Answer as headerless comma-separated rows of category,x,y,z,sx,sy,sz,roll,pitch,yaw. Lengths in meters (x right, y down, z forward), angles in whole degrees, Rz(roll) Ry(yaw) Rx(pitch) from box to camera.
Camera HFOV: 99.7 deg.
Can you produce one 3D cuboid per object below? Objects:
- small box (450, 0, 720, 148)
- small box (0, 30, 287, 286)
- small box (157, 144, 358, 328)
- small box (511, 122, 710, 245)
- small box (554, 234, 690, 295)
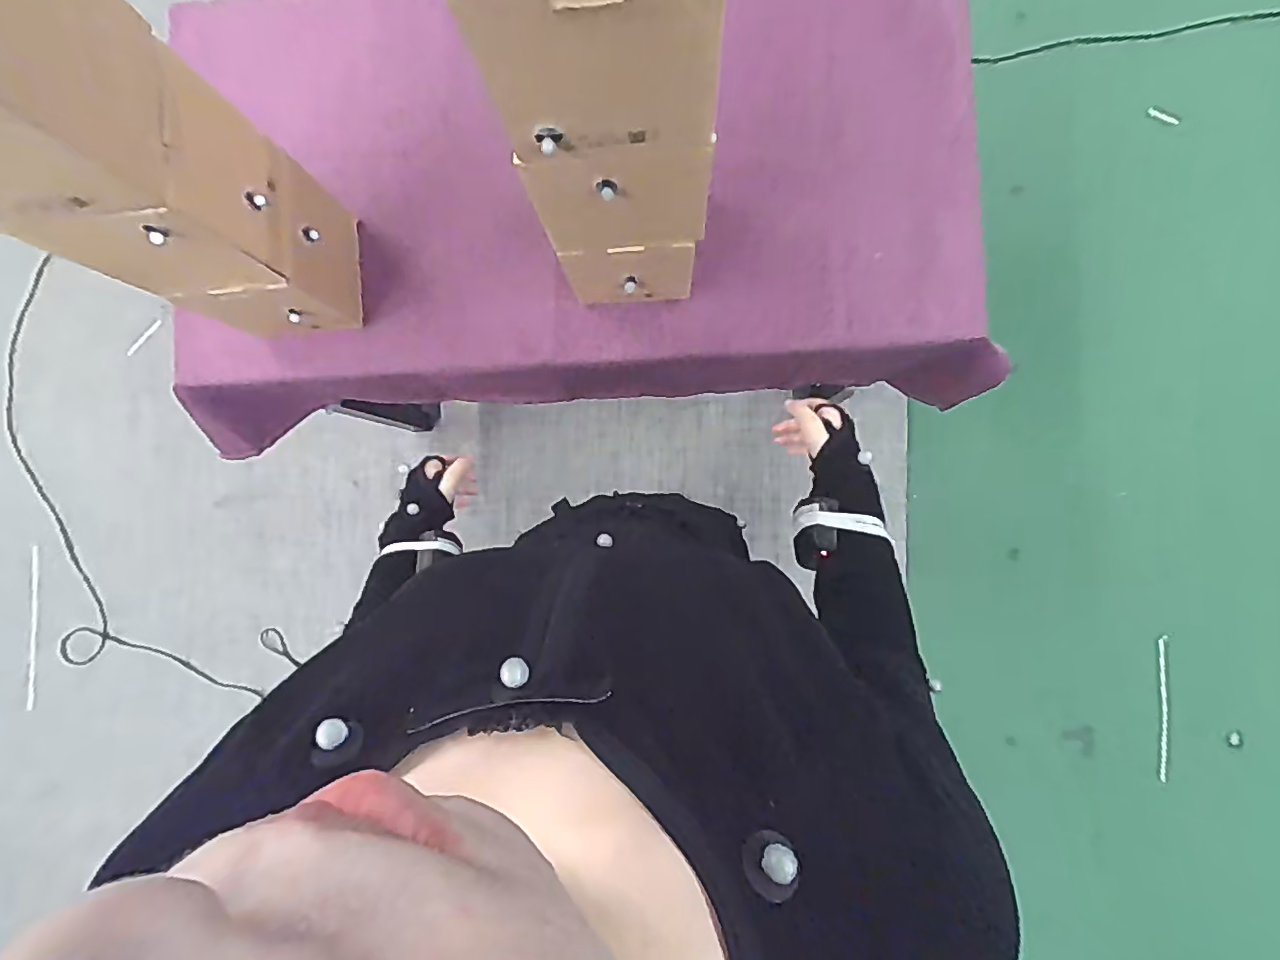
small box,-0.031,-0.368,0.386,0.168,0.176,0.179,-3,87,3
small box,-0.518,-0.321,0.574,0.179,0.176,0.168,-6,88,1
small box,-0.507,-0.315,0.736,0.168,0.176,0.179,-4,87,1
small box,-0.024,-0.358,0.551,0.179,0.176,0.168,-3,88,2
small box,-0.019,-0.355,0.716,0.168,0.176,0.179,-2,89,2
